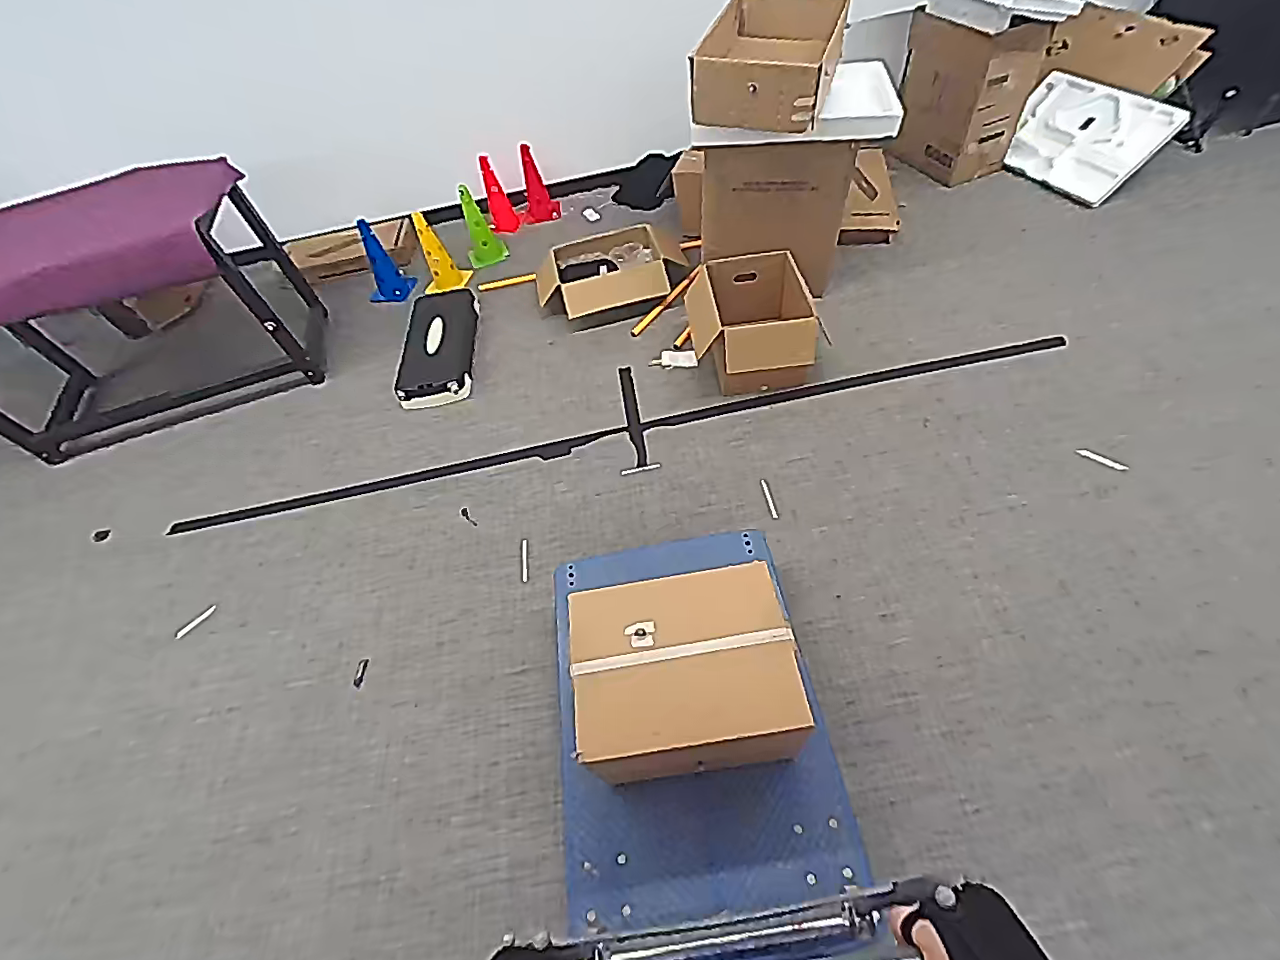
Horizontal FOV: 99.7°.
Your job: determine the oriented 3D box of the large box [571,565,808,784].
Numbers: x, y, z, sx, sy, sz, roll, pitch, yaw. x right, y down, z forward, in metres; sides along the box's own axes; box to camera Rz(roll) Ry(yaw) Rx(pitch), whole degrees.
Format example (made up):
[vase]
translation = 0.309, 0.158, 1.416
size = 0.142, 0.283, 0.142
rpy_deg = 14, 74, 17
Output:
[large box]
translation = 0.096, 0.417, 1.134
size = 0.408, 0.320, 0.320
rpy_deg = -11, 52, 2
